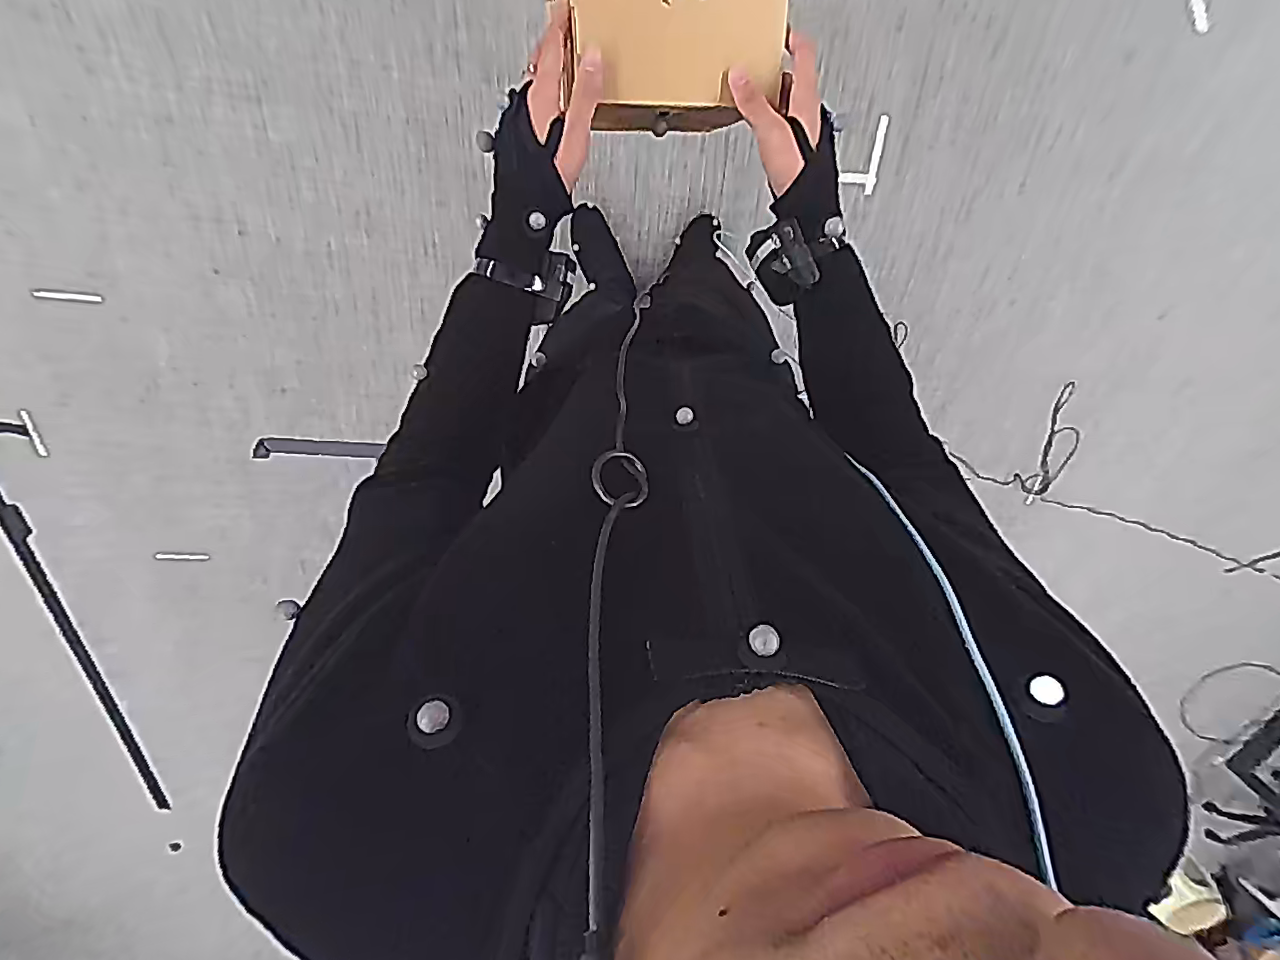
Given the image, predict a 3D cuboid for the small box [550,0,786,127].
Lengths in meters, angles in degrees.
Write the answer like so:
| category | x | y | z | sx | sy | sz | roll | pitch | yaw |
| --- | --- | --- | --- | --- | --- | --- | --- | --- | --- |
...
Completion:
| category | x | y | z | sx | sy | sz | roll | pitch | yaw |
| --- | --- | --- | --- | --- | --- | --- | --- | --- | --- |
| small box | 0.016 | -0.421 | 0.478 | 0.179 | 0.176 | 0.168 | -6 | 118 | -10 |
